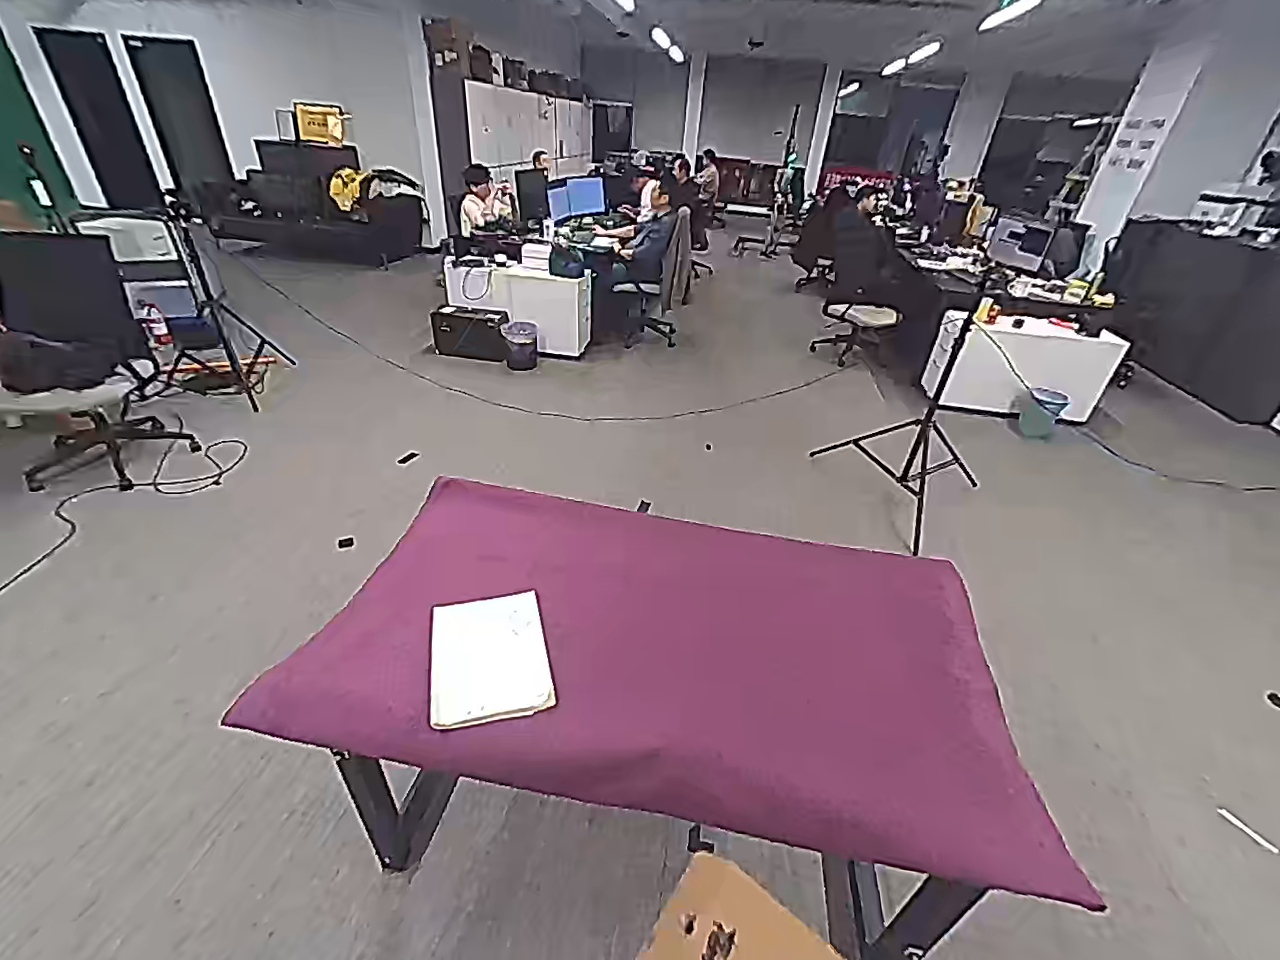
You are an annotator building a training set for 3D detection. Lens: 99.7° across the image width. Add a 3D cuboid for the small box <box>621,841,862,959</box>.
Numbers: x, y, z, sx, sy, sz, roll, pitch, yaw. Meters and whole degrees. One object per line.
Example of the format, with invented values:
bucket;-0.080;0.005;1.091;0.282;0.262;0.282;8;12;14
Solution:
small box;0.096;0.490;0.533;0.179;0.176;0.168;35;62;13
